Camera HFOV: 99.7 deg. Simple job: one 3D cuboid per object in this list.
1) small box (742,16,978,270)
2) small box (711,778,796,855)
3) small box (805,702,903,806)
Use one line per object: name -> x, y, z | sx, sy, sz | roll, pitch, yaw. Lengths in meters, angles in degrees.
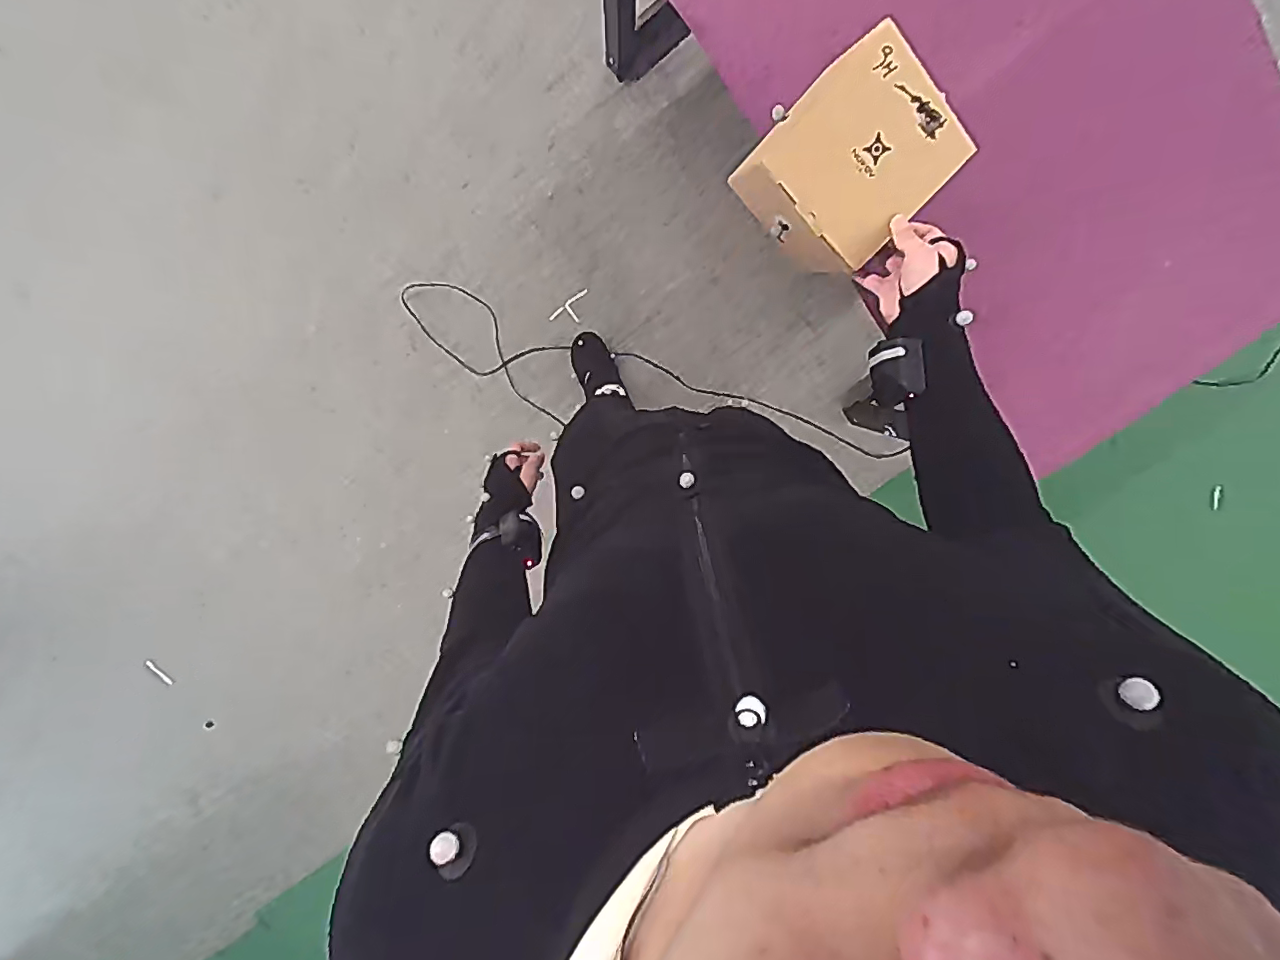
small box -> 0.241, -0.375, 0.645 | 0.168, 0.176, 0.179 | 41, 105, -17
small box -> 0.331, 1.033, 1.623 | 0.168, 0.176, 0.179 | -37, 101, 8
small box -> 0.616, 0.789, 1.577 | 0.179, 0.176, 0.168 | -38, 101, 6
